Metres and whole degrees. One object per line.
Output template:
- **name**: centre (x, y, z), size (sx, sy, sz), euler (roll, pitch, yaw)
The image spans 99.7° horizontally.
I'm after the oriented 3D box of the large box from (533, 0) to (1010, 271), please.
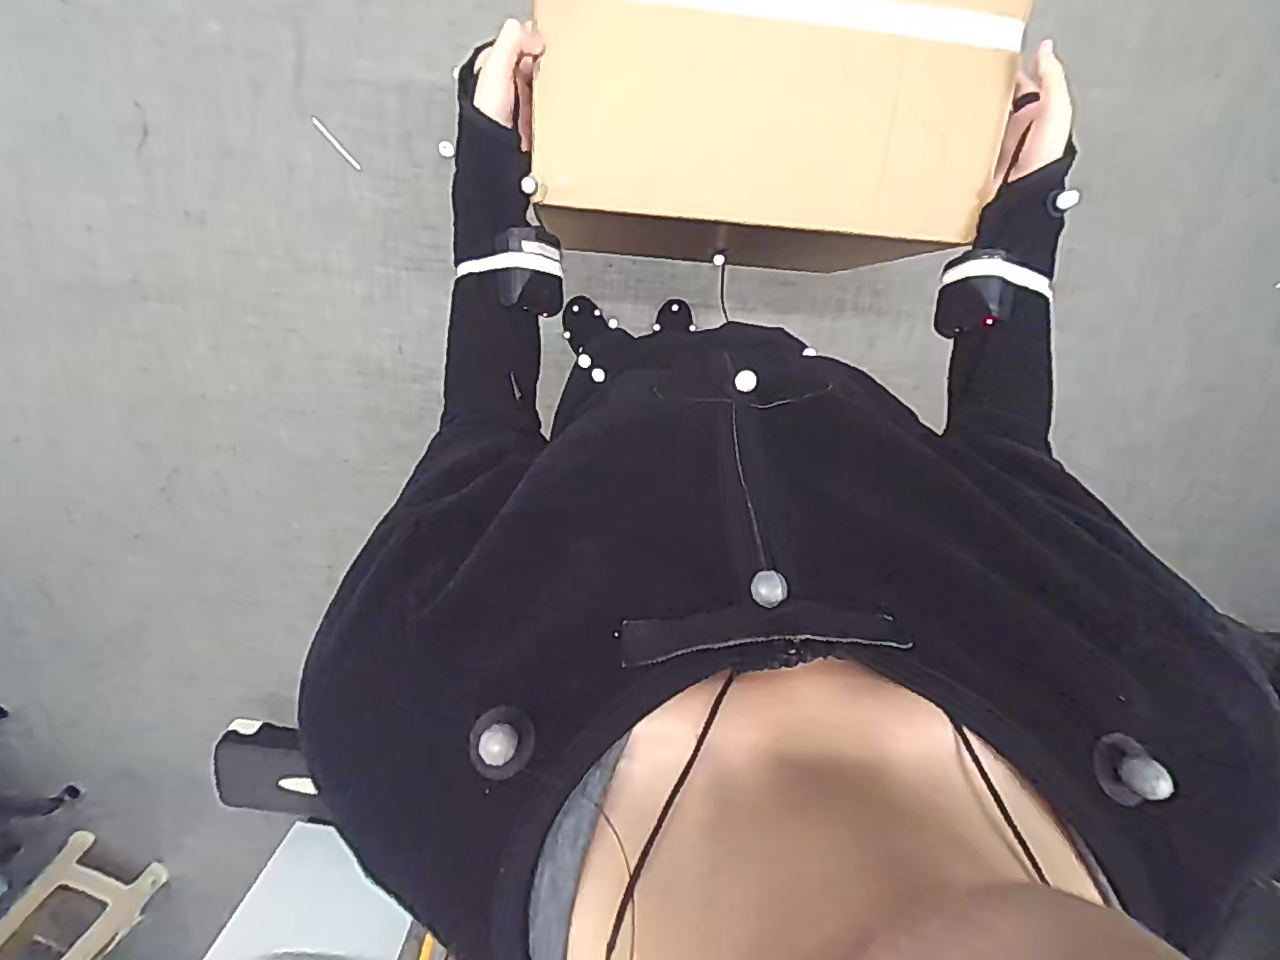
- **large box**: centre (0.102, -0.412, 0.593), size (0.408, 0.320, 0.320), euler (2, 105, -6)
